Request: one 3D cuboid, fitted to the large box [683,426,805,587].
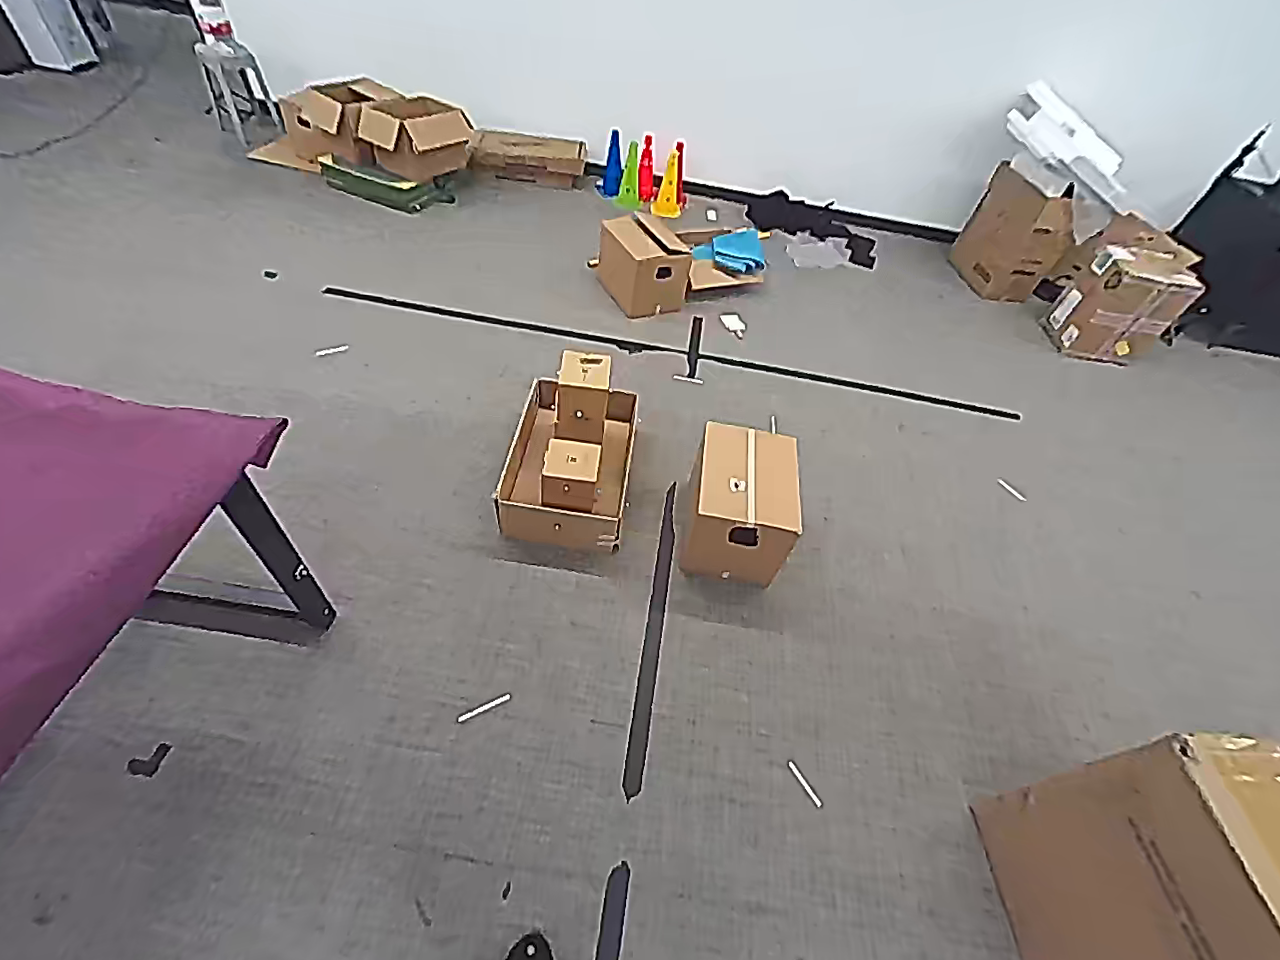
[{"bbox_3d":[0.331,0.086,1.797,0.320,0.320,0.408,10,50,0],"label":"large box"}]

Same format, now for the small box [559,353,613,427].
[{"bbox_3d":[-0.188,-0.309,1.856,0.168,0.176,0.179,6,51,-5],"label":"small box"}]

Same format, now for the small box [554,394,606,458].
[{"bbox_3d":[-0.219,-0.196,1.973,0.179,0.176,0.168,3,50,-8],"label":"small box"}]
